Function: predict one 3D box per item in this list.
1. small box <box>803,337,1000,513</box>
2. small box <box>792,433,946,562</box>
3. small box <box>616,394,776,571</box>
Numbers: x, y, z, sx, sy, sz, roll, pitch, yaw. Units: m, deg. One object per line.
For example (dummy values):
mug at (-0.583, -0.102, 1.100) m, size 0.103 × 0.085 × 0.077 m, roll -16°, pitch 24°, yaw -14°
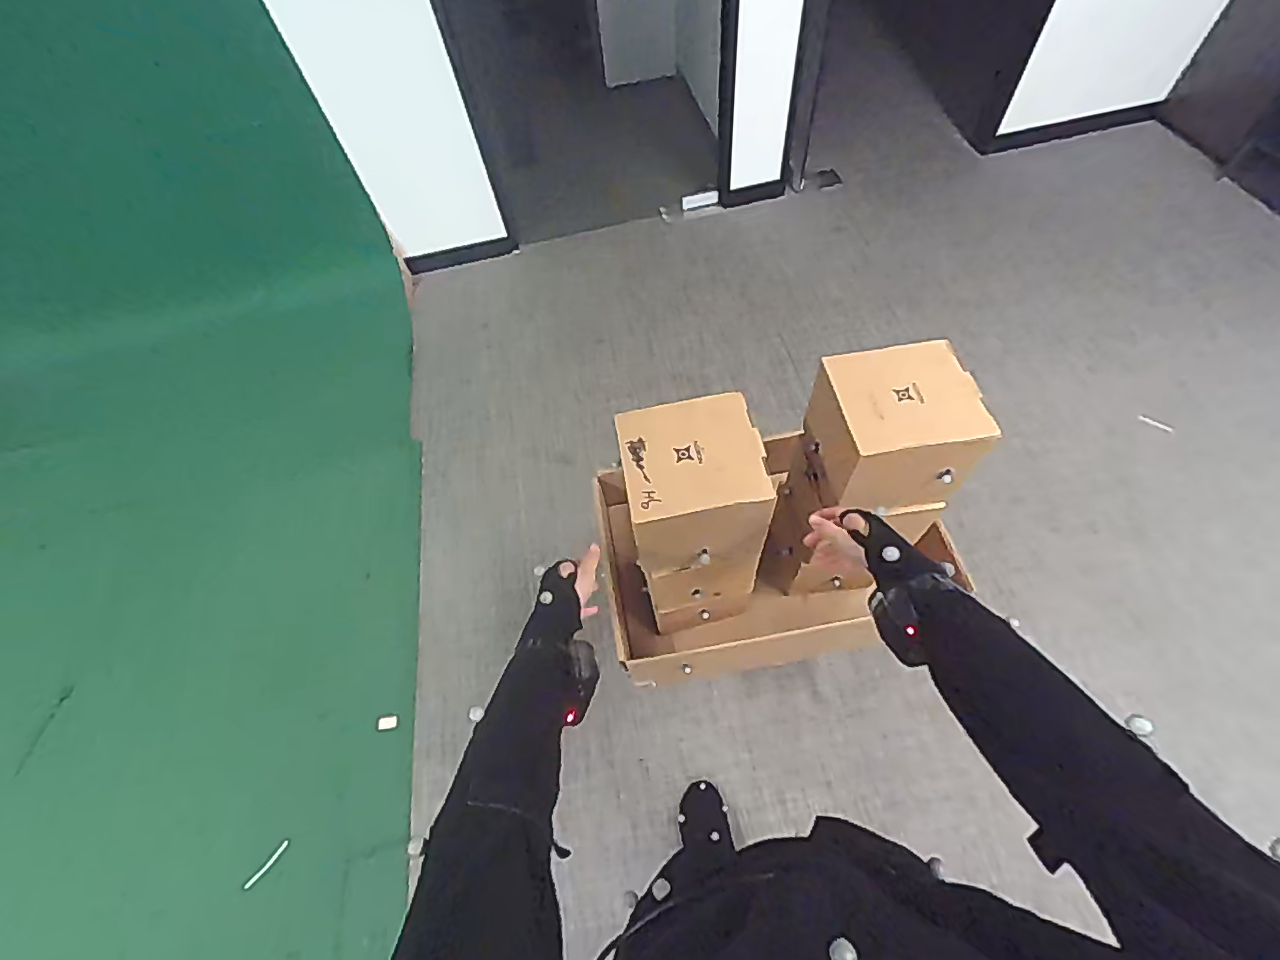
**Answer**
small box at (0.345, -0.070, 0.755) m, size 0.179 × 0.176 × 0.168 m, roll -9°, pitch 58°, yaw 2°
small box at (0.357, 0.023, 0.889) m, size 0.179 × 0.176 × 0.168 m, roll -8°, pitch 59°, yaw 1°
small box at (0.069, 0.009, 0.741) m, size 0.179 × 0.176 × 0.168 m, roll -10°, pitch 58°, yaw -1°
